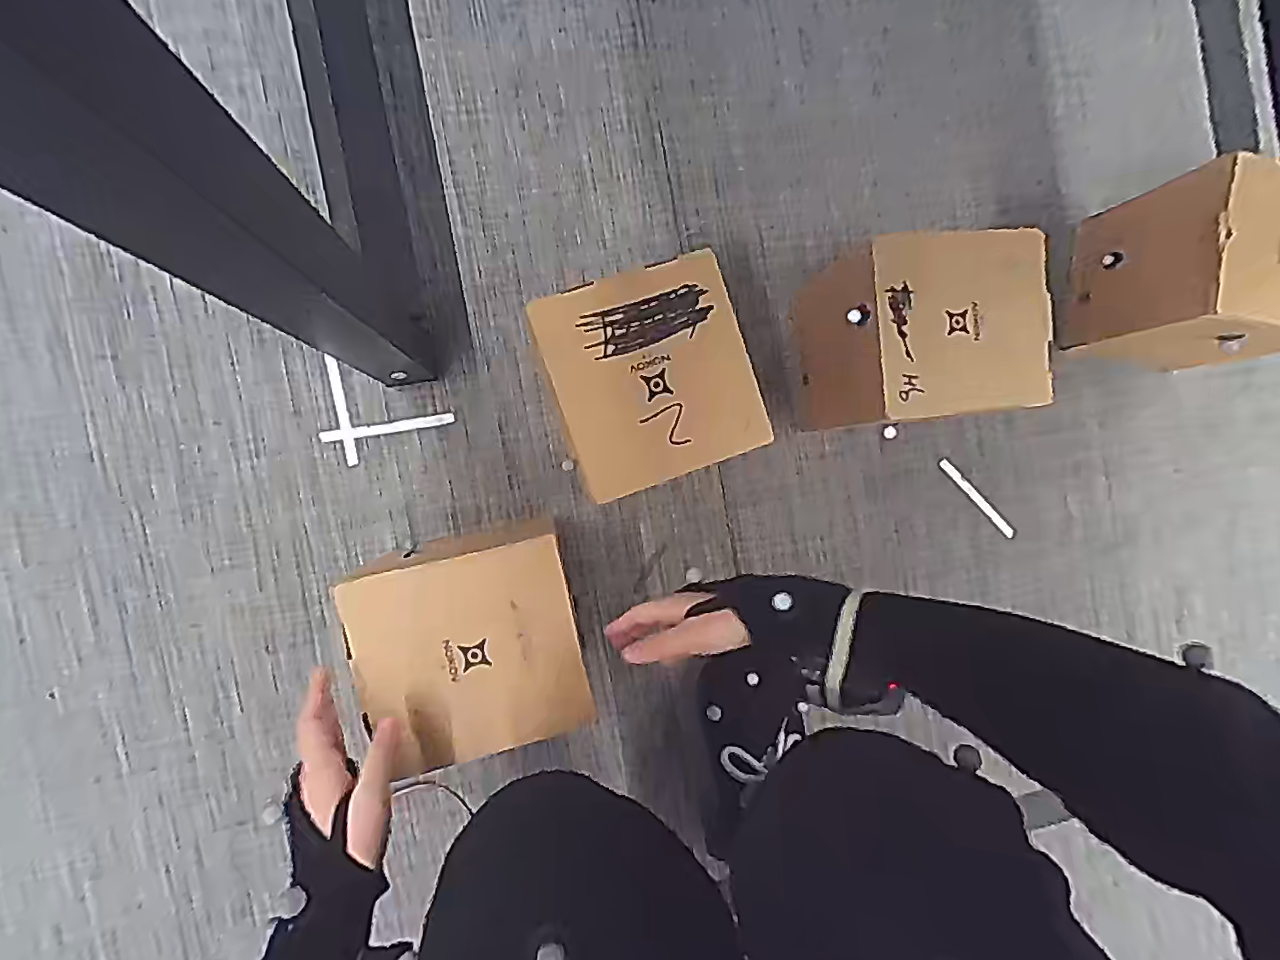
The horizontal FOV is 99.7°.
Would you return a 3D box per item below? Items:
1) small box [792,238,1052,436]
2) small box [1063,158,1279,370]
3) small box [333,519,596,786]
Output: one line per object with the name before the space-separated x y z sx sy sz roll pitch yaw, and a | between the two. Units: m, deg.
small box | 0.281 -0.138 0.568 0.179 0.176 0.168 -6 92 -9
small box | 0.646 -0.229 0.624 0.179 0.176 0.168 7 90 -8
small box | -0.148 0.140 0.508 0.179 0.176 0.168 -14 95 -10
